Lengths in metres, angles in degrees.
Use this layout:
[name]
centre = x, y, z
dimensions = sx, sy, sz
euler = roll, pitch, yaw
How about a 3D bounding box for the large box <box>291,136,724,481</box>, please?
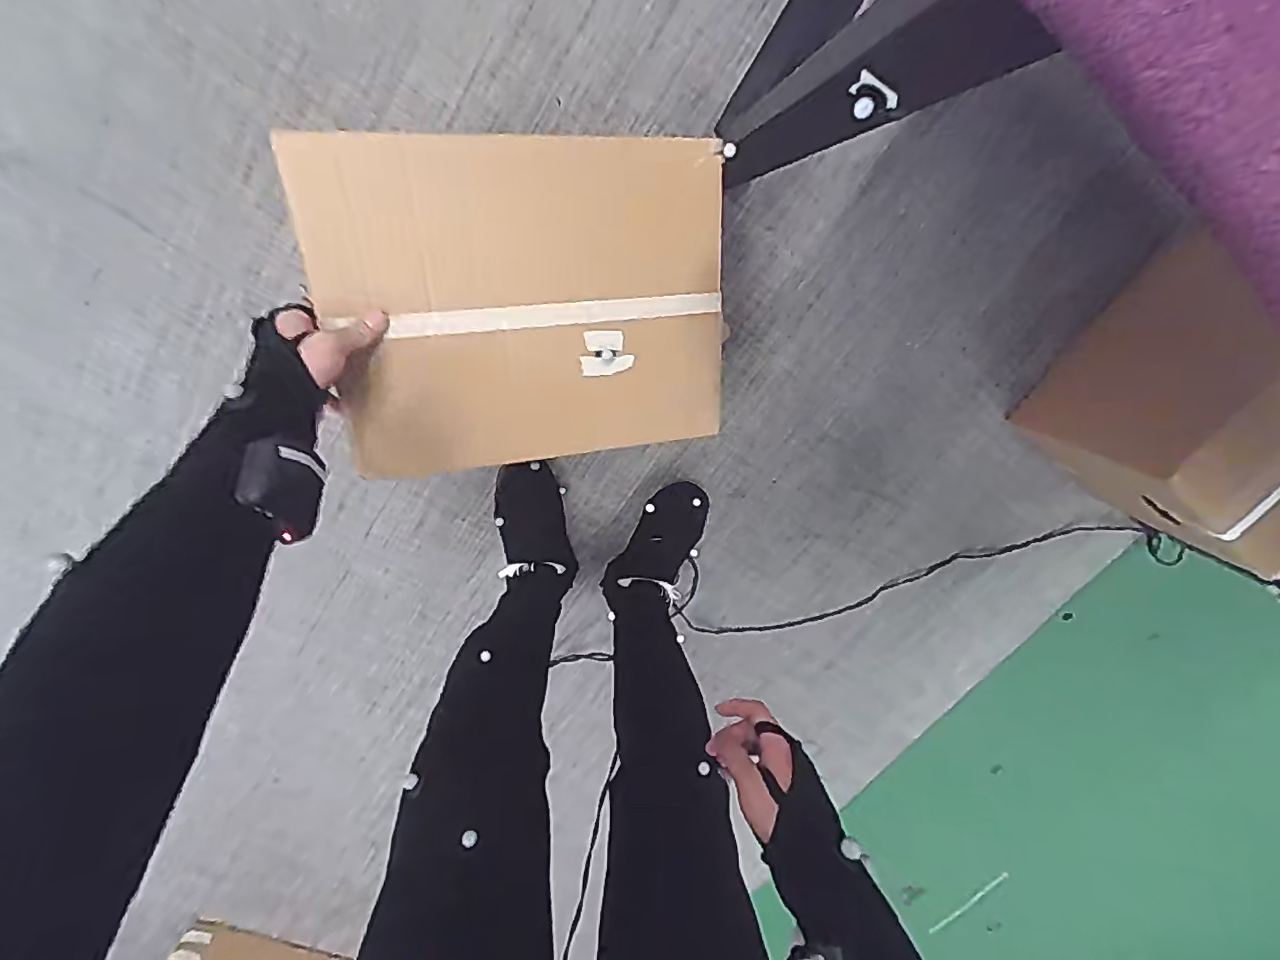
[large box]
centre = -0.142, -0.224, 0.688
dimensions = 0.408, 0.320, 0.320
euler = -10, 114, -16
